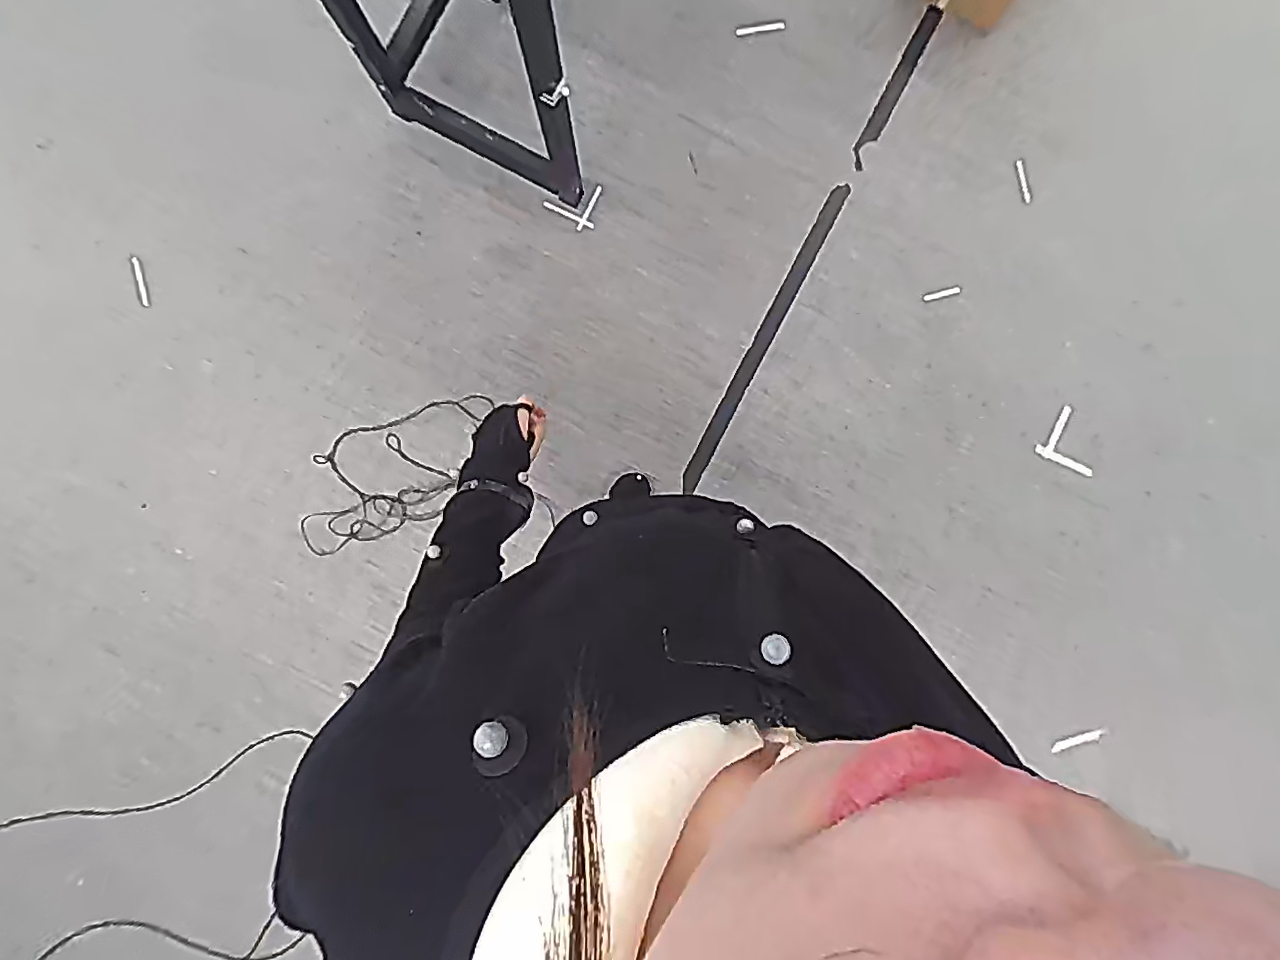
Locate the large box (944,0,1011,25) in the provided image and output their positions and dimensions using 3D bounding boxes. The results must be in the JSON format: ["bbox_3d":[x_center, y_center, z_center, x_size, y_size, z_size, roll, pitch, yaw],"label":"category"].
[{"bbox_3d":[0.937,-1.511,1.369,0.320,0.320,0.408,28,89,-2],"label":"large box"}]
